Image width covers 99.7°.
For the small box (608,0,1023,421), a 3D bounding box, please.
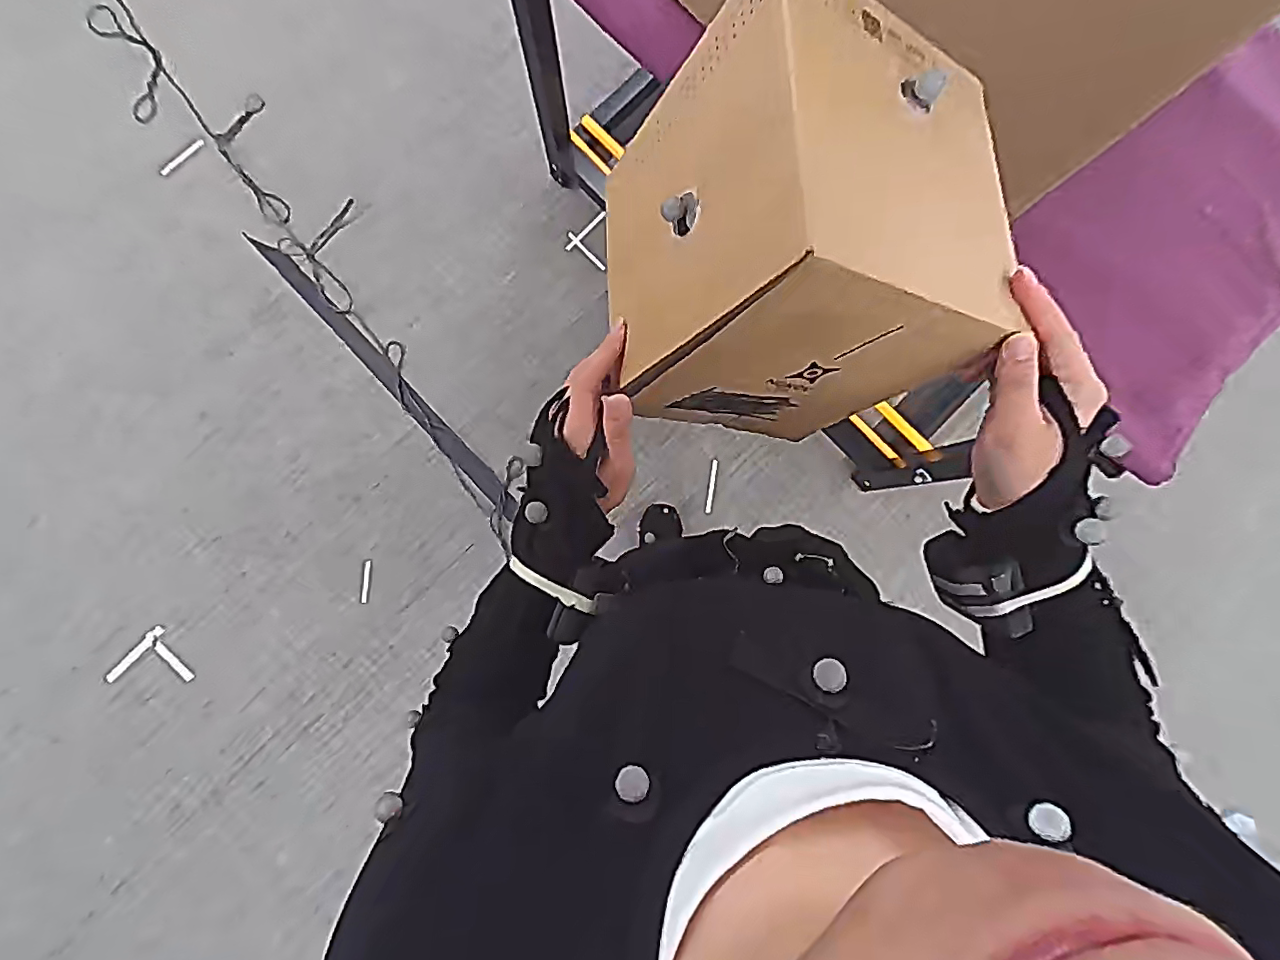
[{"bbox_3d":[0.090,-0.150,0.334,0.168,0.179,0.176,4,76,-29],"label":"small box"}]
